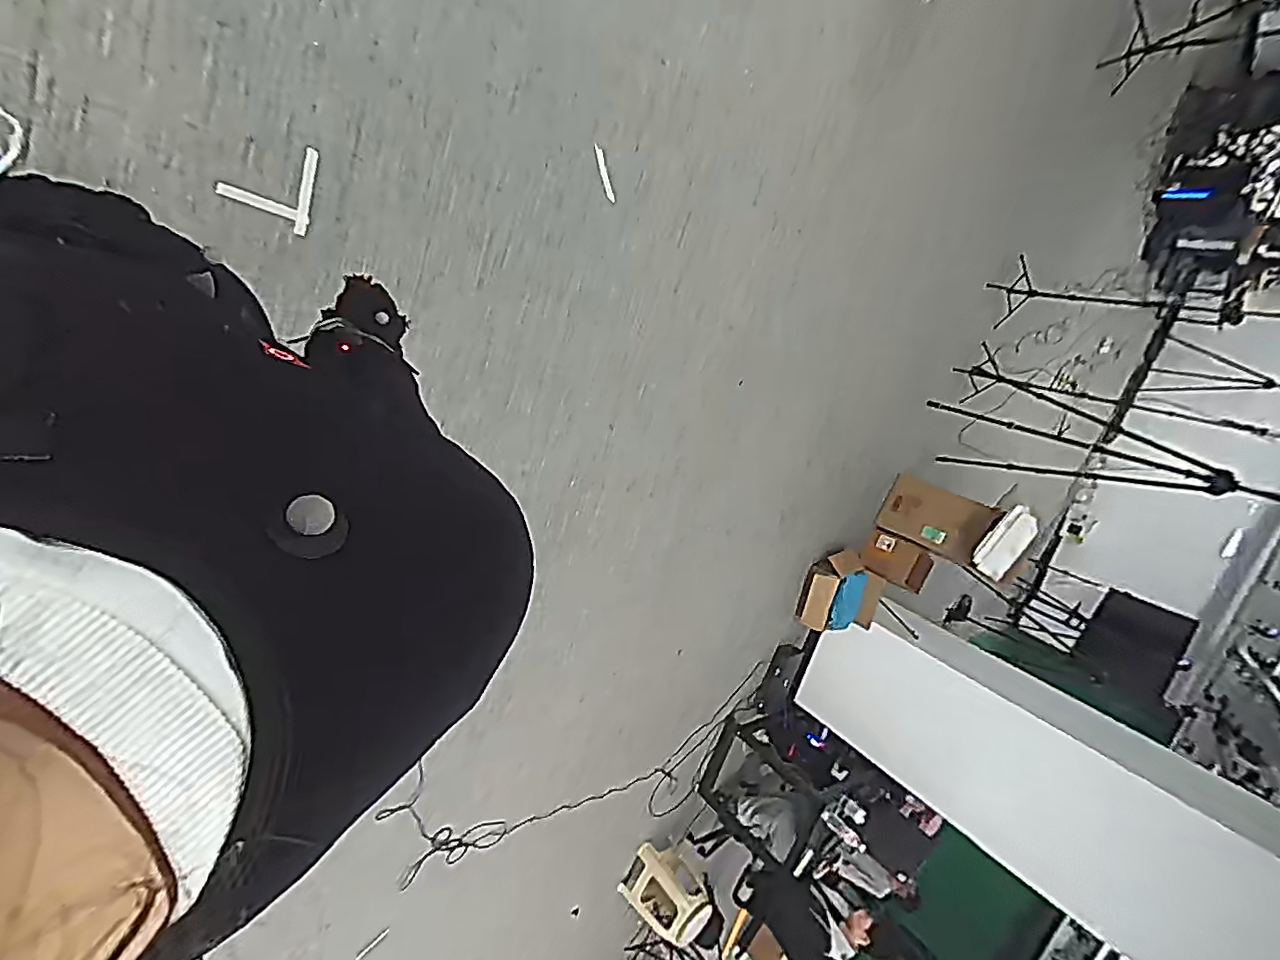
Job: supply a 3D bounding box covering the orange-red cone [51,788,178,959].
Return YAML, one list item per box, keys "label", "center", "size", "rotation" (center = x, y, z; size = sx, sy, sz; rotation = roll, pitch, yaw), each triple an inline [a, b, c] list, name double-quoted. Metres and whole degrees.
- label: "orange-red cone"
  center: [-1.186, 0.917, 1.220]
  size: [0.199, 0.360, 0.198]
  rotation: [20, 96, -46]
